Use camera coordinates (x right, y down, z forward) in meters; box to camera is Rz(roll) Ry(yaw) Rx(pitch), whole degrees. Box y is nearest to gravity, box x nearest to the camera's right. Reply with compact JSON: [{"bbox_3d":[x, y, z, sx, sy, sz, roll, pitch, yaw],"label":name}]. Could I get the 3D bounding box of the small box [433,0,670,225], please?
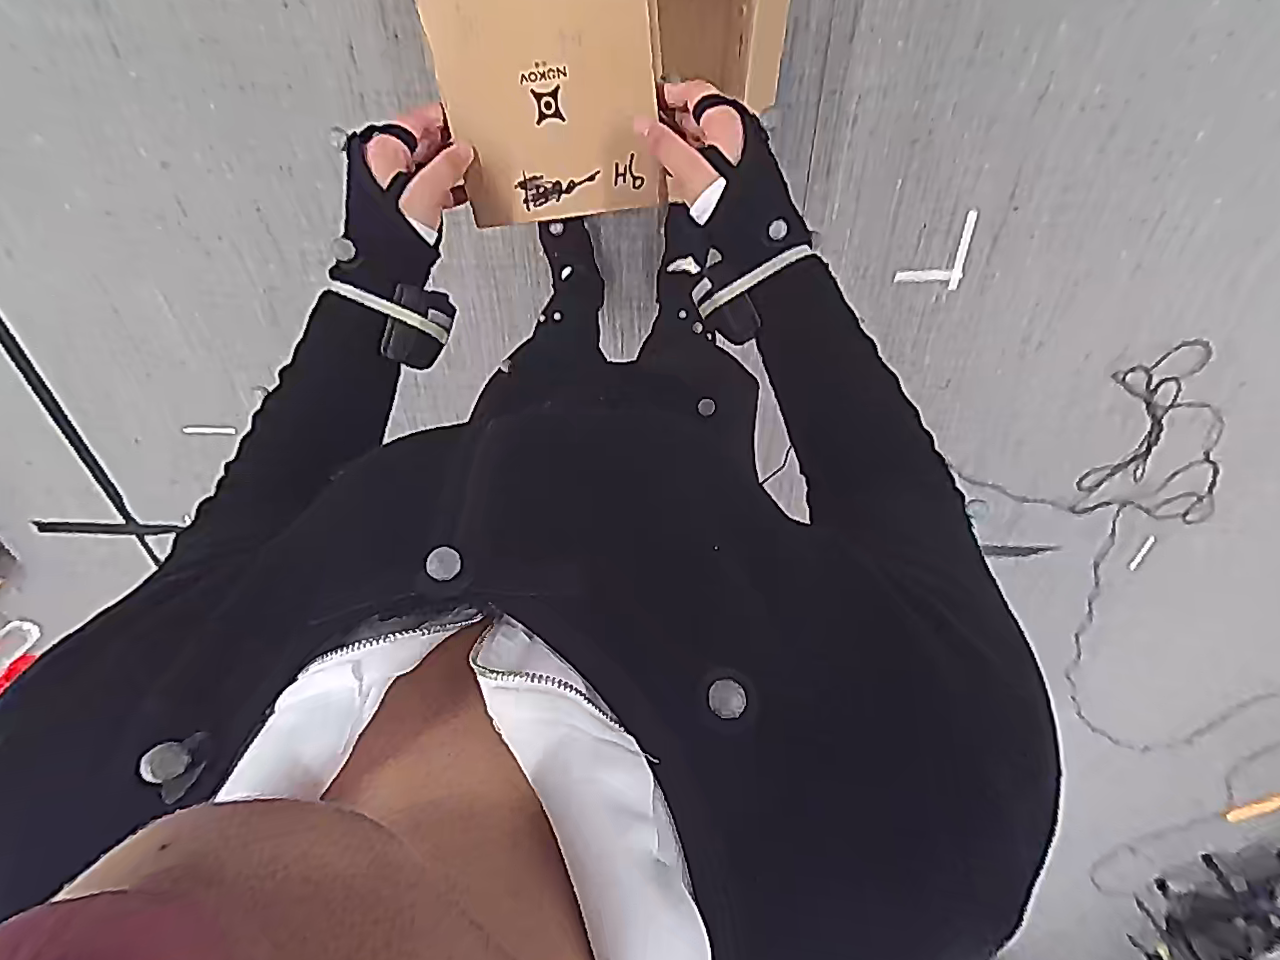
[{"bbox_3d":[-0.061,-0.347,0.493,0.168,0.176,0.179,-3,124,7],"label":"small box"}]
